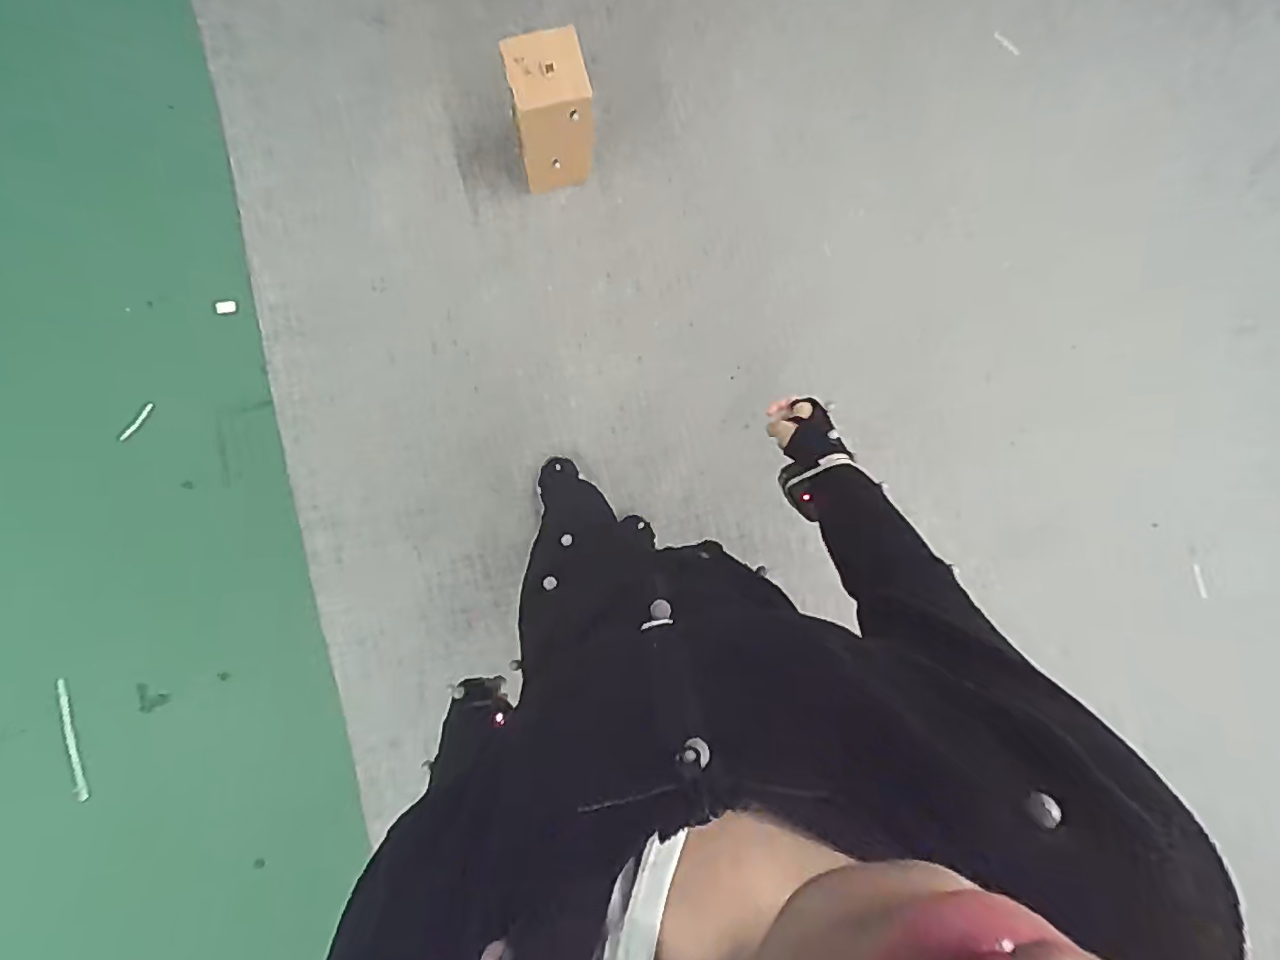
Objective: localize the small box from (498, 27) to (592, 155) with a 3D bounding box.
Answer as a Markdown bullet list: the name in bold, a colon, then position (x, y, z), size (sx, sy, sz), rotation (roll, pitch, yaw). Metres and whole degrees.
- **small box**: position (-0.217, -0.902, 1.268), size (0.179, 0.176, 0.168), rotation (-15, 90, -5)

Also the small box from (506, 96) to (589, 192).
- **small box**: position (-0.239, -0.900, 1.432), size (0.179, 0.176, 0.168), rotation (-16, 91, -4)
